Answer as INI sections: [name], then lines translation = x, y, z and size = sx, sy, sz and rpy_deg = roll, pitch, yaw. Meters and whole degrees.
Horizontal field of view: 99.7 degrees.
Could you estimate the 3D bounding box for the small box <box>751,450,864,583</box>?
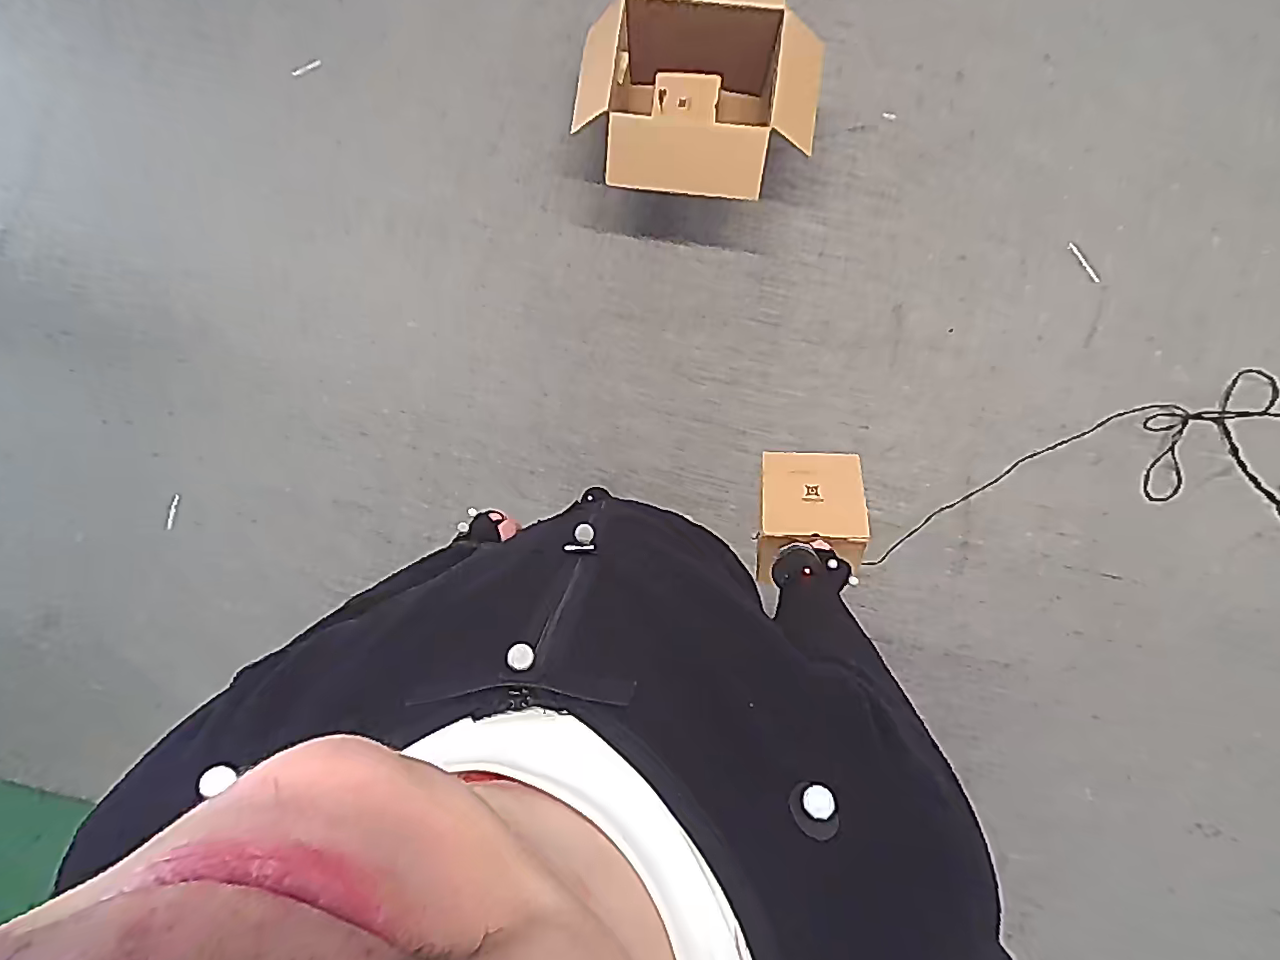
[small box]
translation = 0.286, 0.067, 0.955
size = 0.168, 0.176, 0.179
rpy_deg = 2, 52, 9
